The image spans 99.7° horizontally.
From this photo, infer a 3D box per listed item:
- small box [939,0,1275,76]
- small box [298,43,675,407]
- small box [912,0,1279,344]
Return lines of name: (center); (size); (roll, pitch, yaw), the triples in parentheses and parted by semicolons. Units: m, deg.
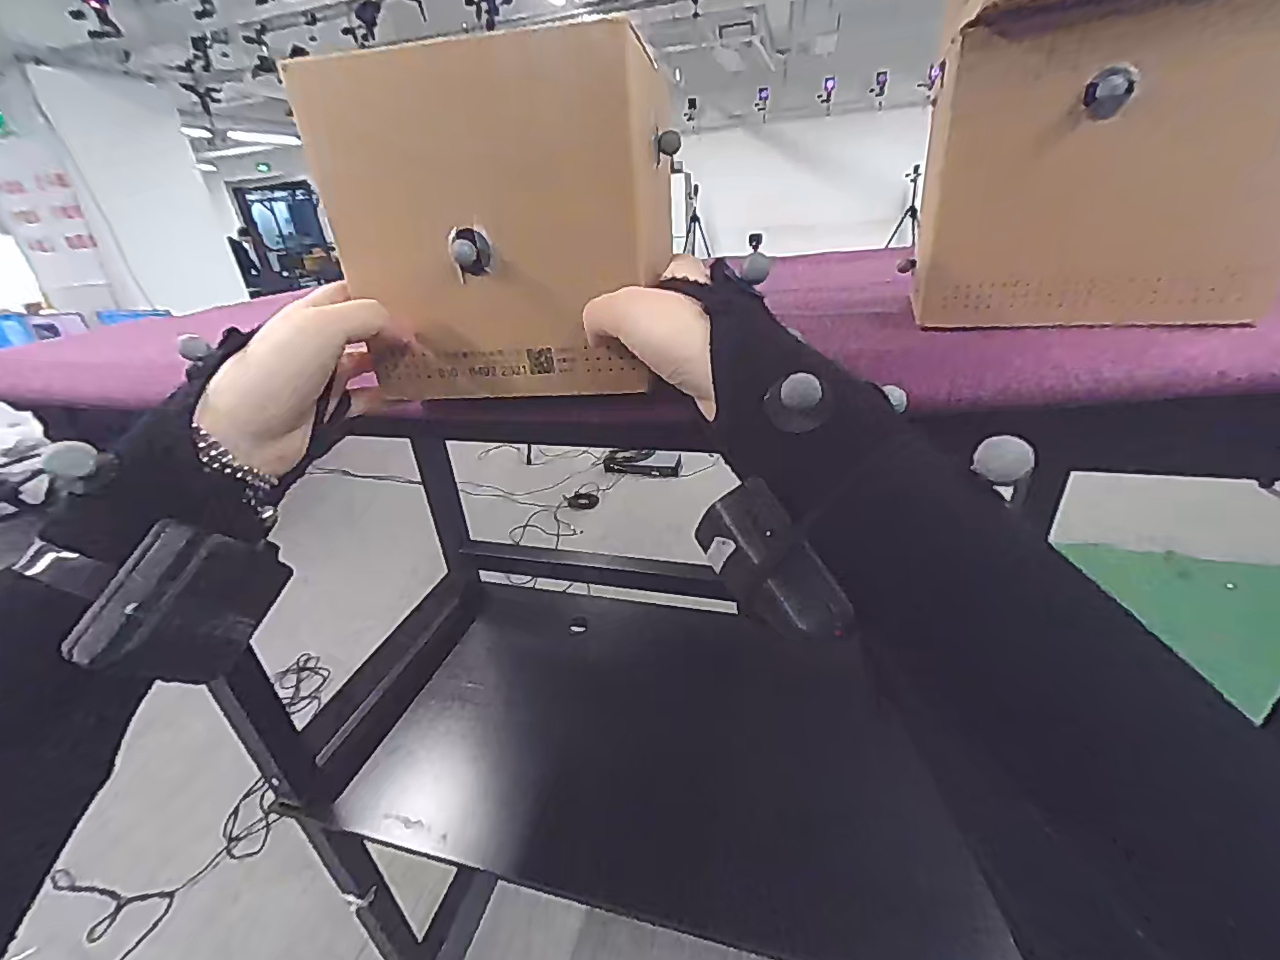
small box: (0.275, -0.332, 0.293); (0.179, 0.176, 0.168); (4, 27, 17)
small box: (-0.066, -0.151, 0.353); (0.168, 0.176, 0.179); (1, 28, 8)
small box: (0.294, -0.193, 0.374); (0.179, 0.176, 0.168); (6, 27, 21)
